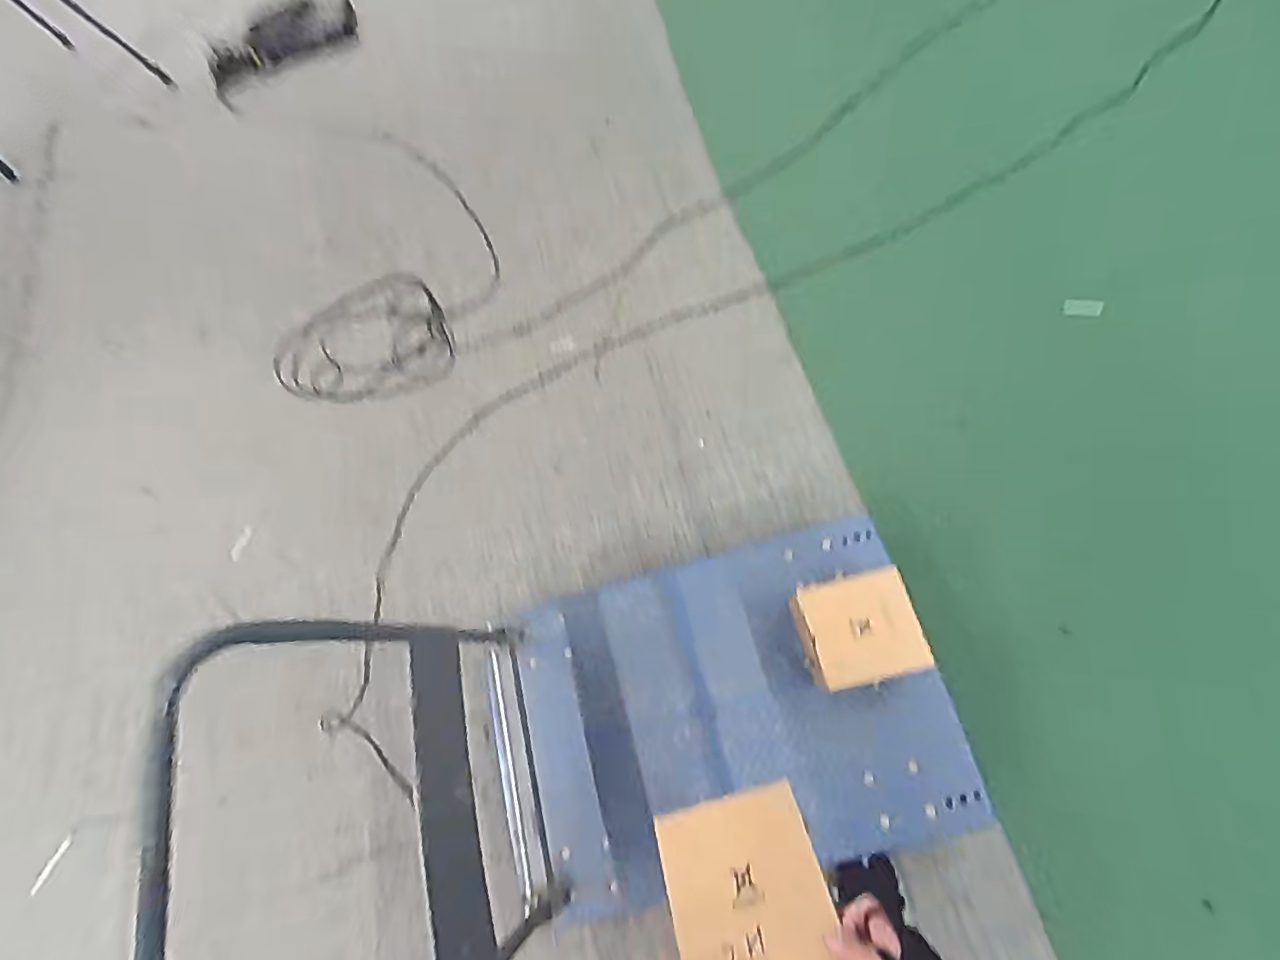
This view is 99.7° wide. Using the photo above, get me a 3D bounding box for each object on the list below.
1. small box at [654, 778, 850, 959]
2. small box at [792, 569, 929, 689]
[{"bbox_3d":[0.123,0.477,0.628,0.168,0.176,0.179,-17,50,1],"label":"small box"},{"bbox_3d":[0.381,0.272,0.973,0.179,0.176,0.168,-16,70,6],"label":"small box"}]
